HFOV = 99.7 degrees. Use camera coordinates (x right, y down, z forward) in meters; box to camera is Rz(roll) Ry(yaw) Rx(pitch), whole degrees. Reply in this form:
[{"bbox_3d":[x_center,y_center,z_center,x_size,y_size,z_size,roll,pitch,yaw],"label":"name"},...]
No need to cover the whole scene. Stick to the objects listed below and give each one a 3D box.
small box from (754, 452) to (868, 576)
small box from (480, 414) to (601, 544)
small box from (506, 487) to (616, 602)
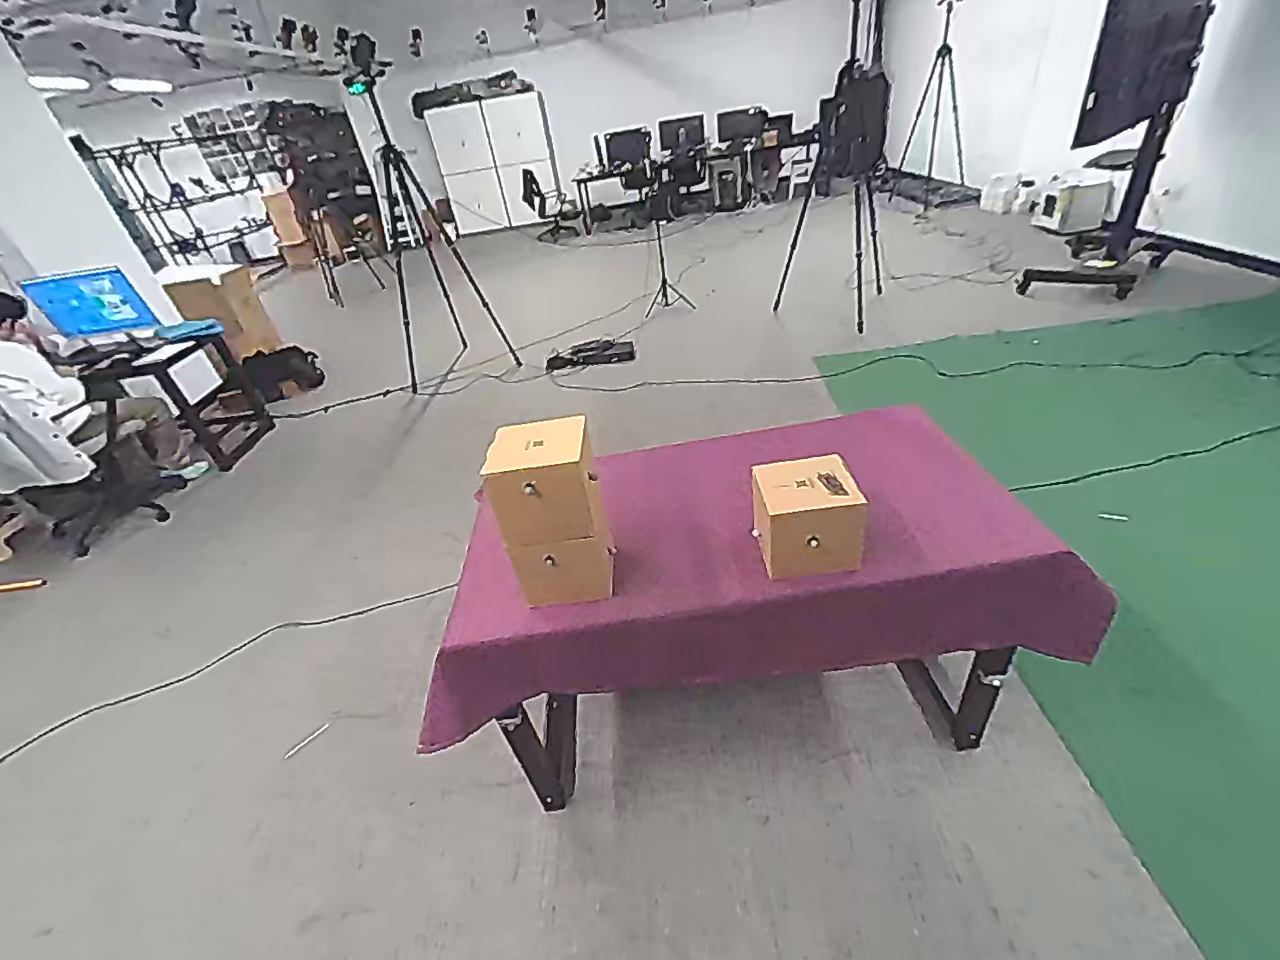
[{"bbox_3d":[0.328,0.068,1.068,0.179,0.176,0.168,-9,35,5],"label":"small box"},{"bbox_3d":[-0.172,-0.001,1.011,0.179,0.176,0.168,-9,35,5],"label":"small box"},{"bbox_3d":[-0.152,0.132,1.104,0.179,0.176,0.168,-7,35,5],"label":"small box"}]
